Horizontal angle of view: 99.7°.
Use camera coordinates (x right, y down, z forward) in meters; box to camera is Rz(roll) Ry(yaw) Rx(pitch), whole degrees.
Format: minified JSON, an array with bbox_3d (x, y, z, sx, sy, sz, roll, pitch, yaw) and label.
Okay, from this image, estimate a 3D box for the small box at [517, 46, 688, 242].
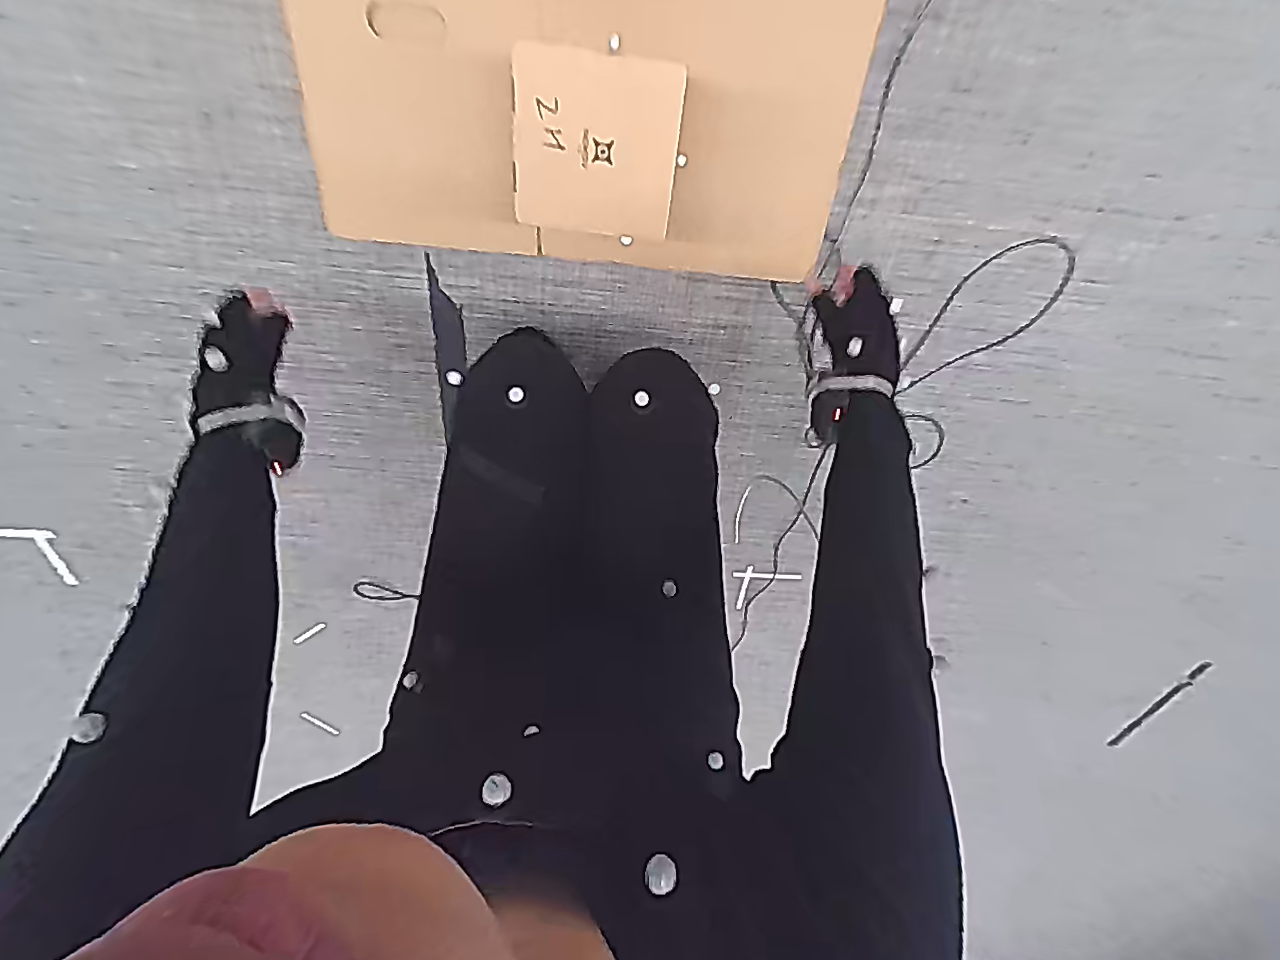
[{"bbox_3d":[-0.045,-0.402,0.651,0.179,0.176,0.168,7,125,-3],"label":"small box"}]
